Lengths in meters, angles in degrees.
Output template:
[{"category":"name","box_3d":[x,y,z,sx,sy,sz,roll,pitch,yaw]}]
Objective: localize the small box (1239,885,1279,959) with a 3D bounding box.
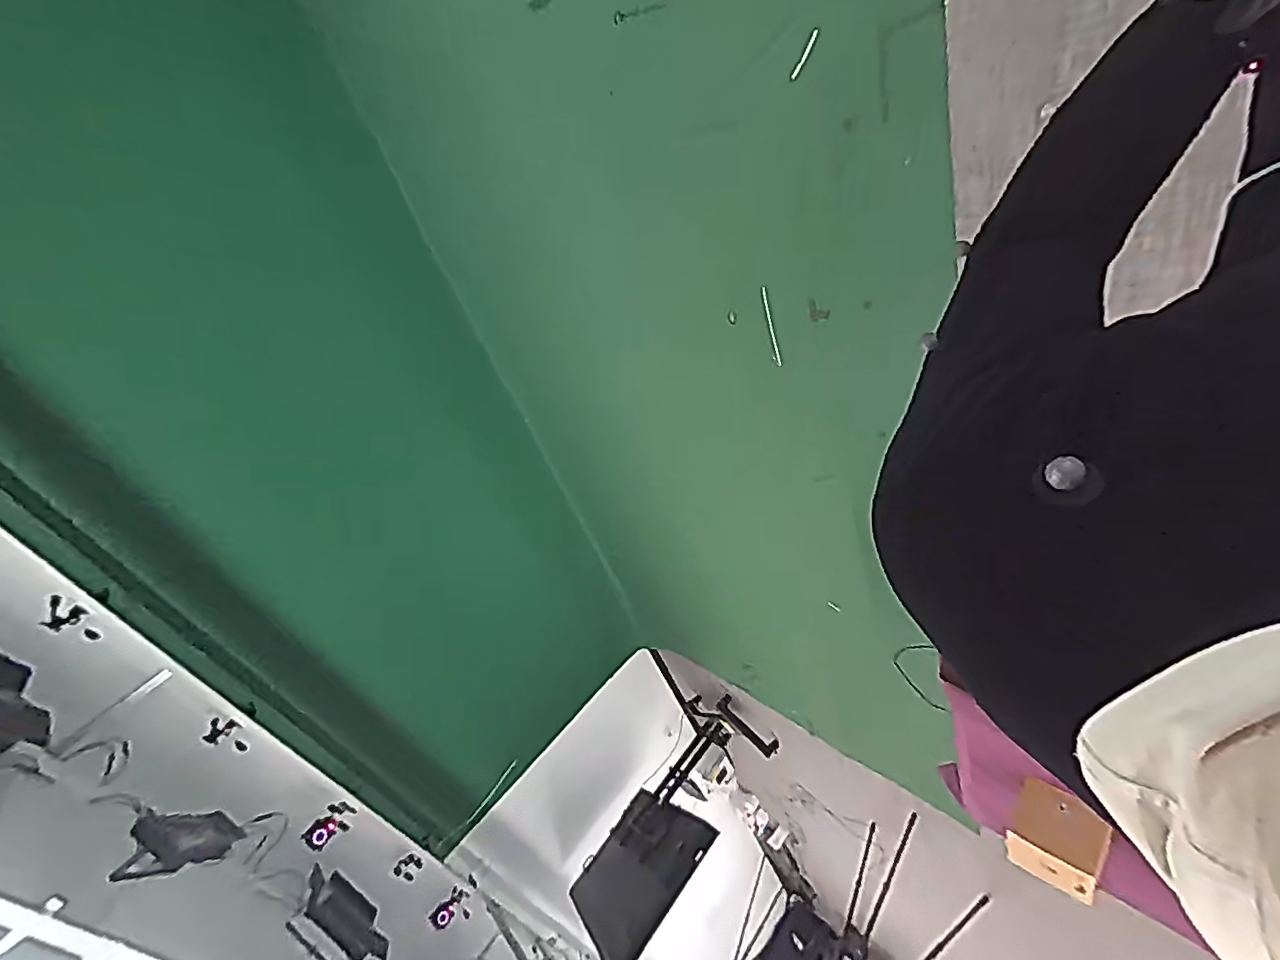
[{"category":"small box","box_3d":[1.309,0.950,1.058,0.168,0.176,0.179,13,138,48]}]

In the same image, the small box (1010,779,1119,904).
[{"category":"small box","box_3d":[1.052,0.886,1.346,0.179,0.176,0.168,14,139,47]}]
